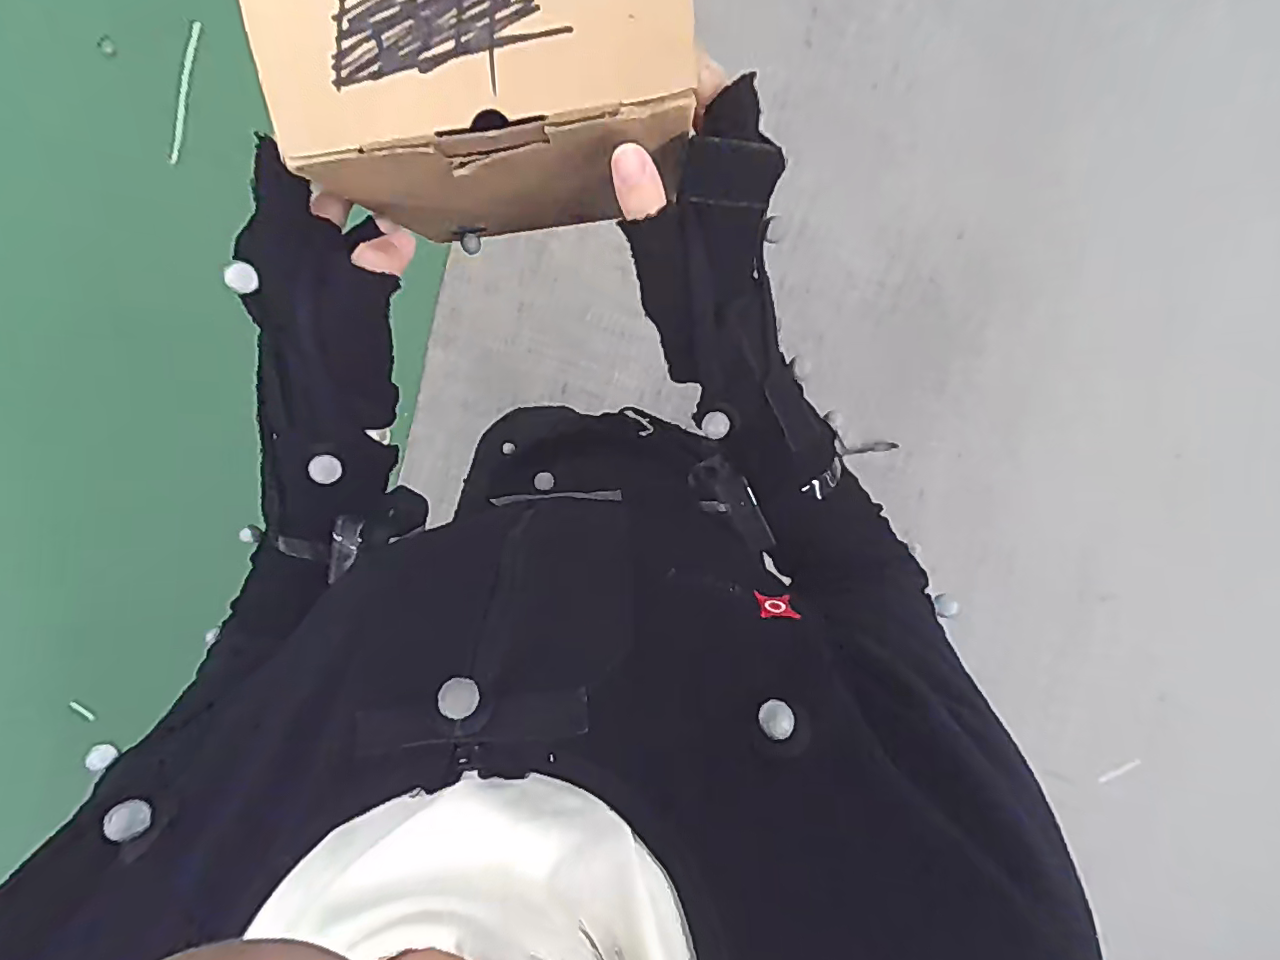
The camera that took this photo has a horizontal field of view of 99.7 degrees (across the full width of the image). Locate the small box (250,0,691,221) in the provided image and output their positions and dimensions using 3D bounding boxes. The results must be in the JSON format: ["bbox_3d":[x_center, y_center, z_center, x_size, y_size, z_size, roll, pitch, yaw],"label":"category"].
[{"bbox_3d":[-0.067,-0.241,0.268,0.168,0.176,0.179,-7,103,3],"label":"small box"}]
